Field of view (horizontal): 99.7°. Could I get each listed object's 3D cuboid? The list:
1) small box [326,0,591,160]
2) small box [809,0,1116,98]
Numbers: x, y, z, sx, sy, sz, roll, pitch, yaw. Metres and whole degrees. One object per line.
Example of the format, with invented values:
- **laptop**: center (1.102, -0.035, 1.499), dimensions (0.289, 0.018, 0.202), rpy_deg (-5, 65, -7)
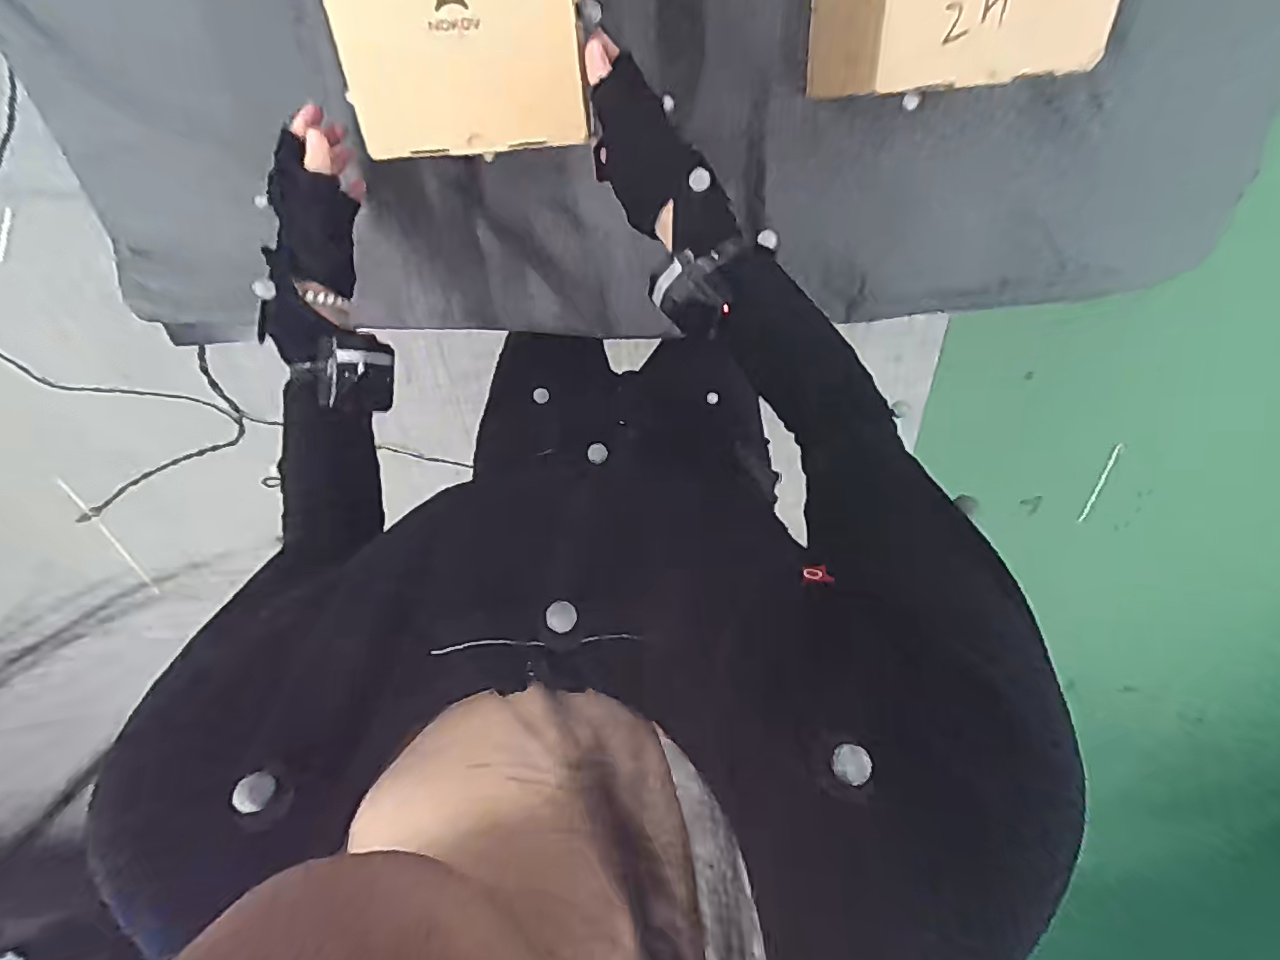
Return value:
- **small box**: center (-0.130, -0.362, 0.424), dimensions (0.168, 0.176, 0.179), rpy_deg (-5, 125, -1)
- **small box**: center (0.239, -0.408, 0.414), dimensions (0.168, 0.176, 0.179), rpy_deg (-6, 125, 1)
